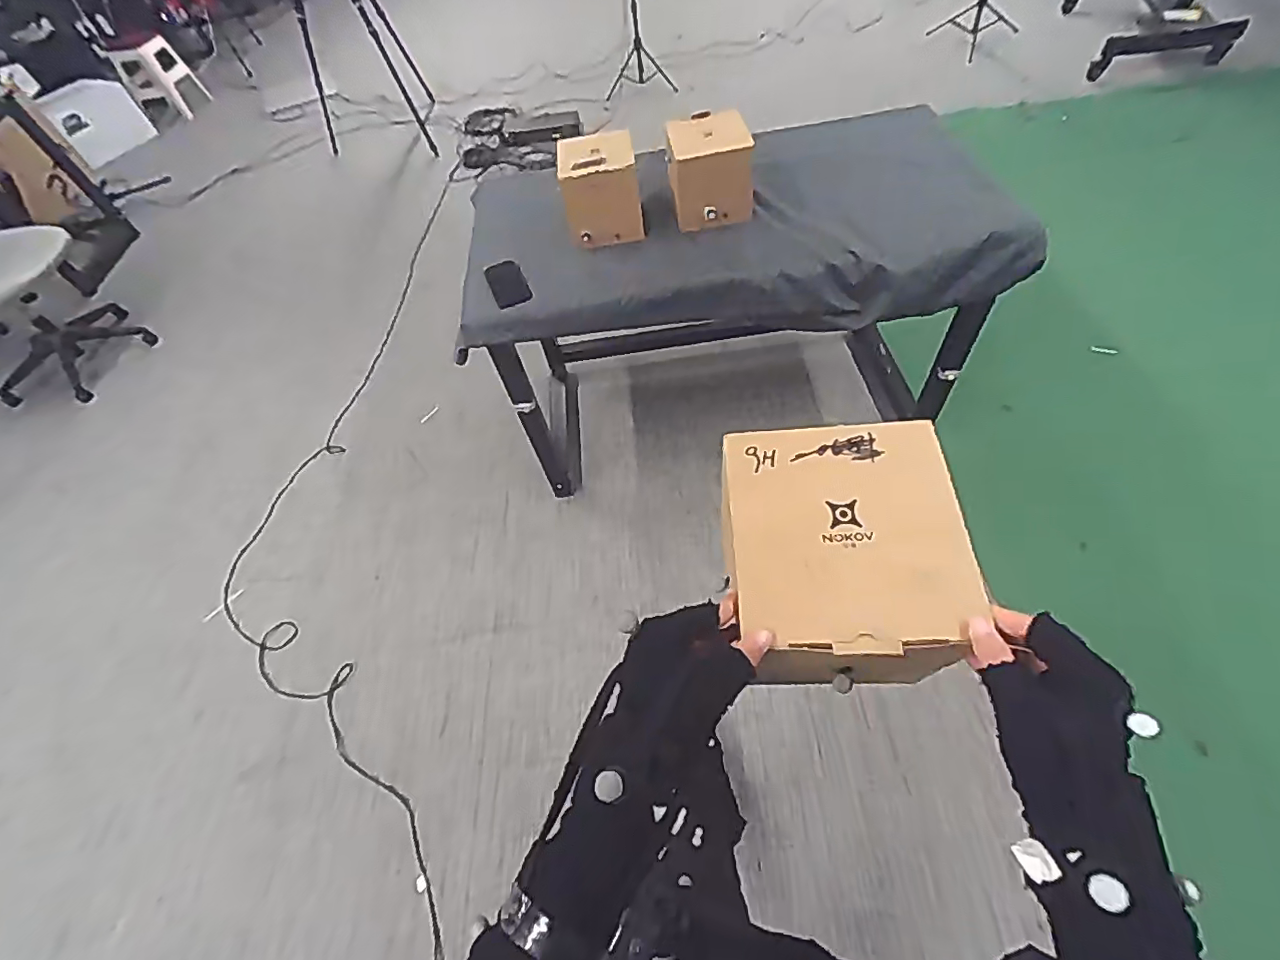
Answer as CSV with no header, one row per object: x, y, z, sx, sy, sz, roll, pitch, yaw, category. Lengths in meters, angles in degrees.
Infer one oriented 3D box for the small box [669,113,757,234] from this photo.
0.161,-0.688,1.221,0.168,0.176,0.179,-10,56,2,small box

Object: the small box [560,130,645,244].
-0.083,-0.656,1.228,0.168,0.176,0.179,-8,54,2,small box

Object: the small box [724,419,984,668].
0.162,0.067,0.479,0.168,0.176,0.179,-3,62,6,small box
